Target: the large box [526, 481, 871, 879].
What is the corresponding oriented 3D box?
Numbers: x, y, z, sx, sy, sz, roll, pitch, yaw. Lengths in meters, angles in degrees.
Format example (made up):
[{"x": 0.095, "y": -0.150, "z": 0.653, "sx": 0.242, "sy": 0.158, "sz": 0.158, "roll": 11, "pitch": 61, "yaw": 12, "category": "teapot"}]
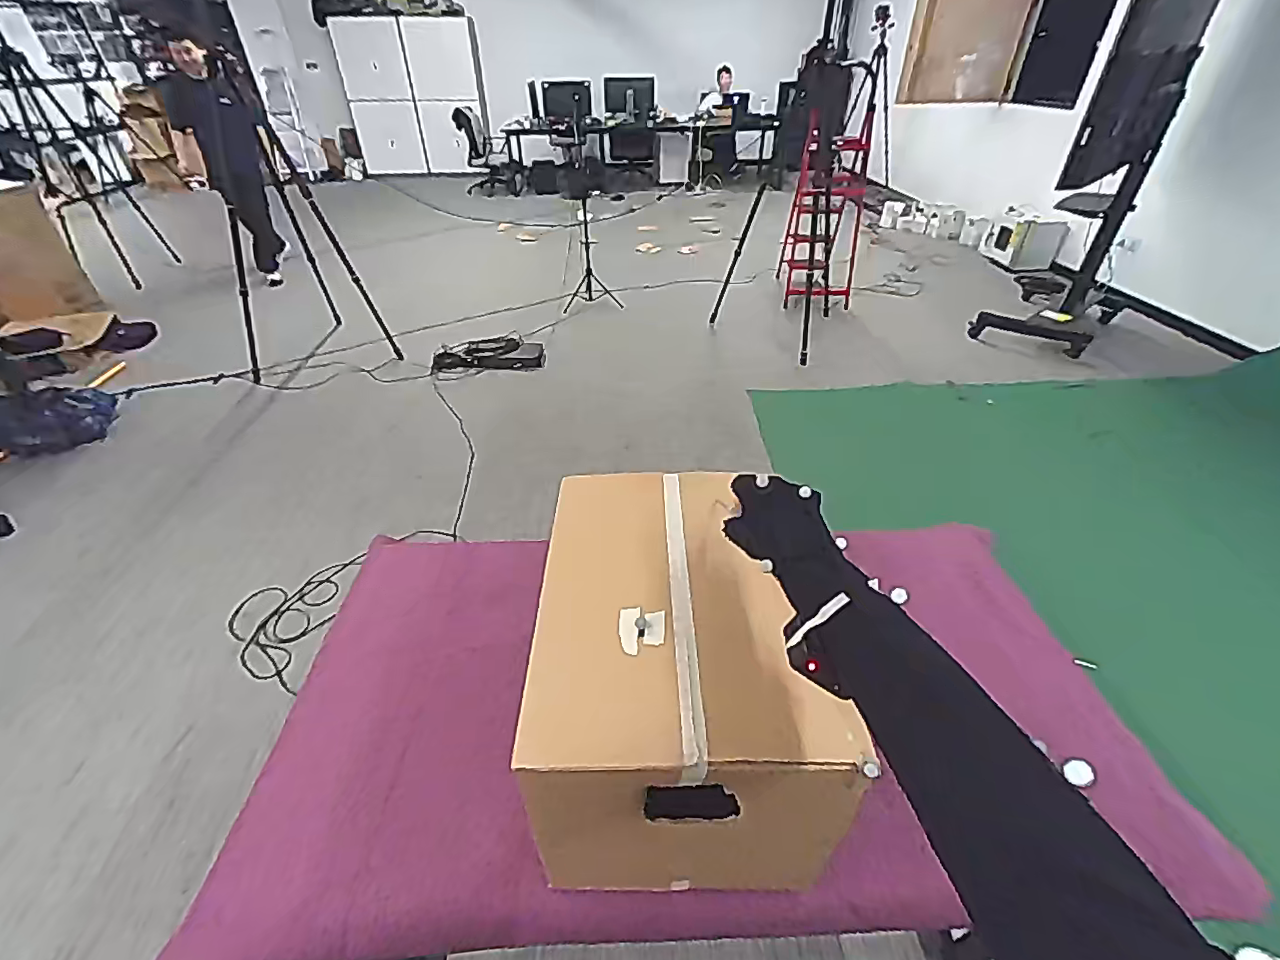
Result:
[{"x": 0.047, "y": 0.244, "z": 0.717, "sx": 0.320, "sy": 0.320, "sz": 0.408, "roll": 0, "pitch": 39, "yaw": 0, "category": "large box"}]
